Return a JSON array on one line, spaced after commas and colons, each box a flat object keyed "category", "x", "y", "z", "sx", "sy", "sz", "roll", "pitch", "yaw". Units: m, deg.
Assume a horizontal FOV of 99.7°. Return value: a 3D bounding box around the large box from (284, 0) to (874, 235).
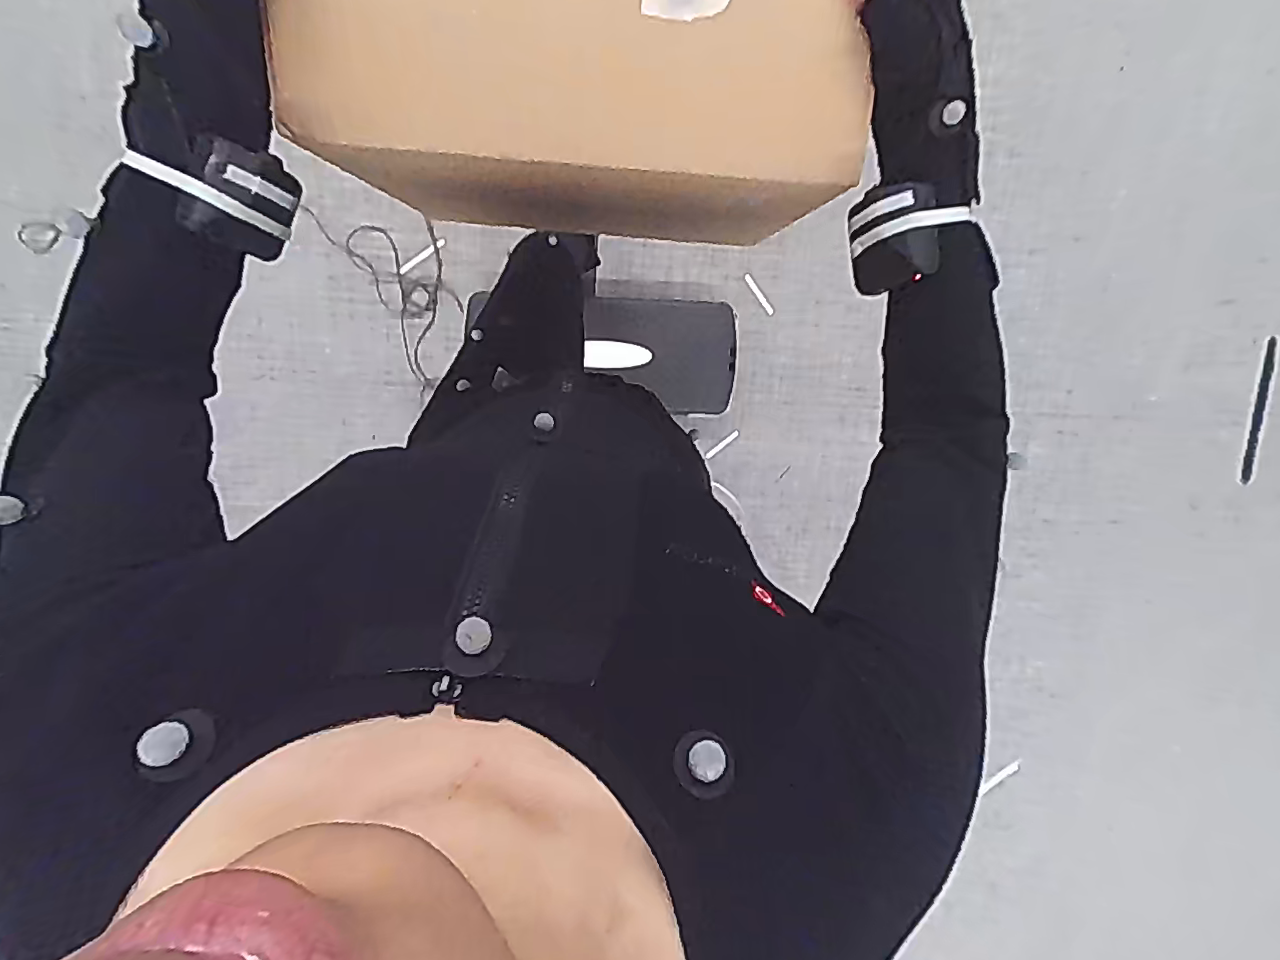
[{"category": "large box", "x": -0.041, "y": -0.423, "z": 0.490, "sx": 0.408, "sy": 0.320, "sz": 0.320, "roll": 3, "pitch": 106, "yaw": -3}]
